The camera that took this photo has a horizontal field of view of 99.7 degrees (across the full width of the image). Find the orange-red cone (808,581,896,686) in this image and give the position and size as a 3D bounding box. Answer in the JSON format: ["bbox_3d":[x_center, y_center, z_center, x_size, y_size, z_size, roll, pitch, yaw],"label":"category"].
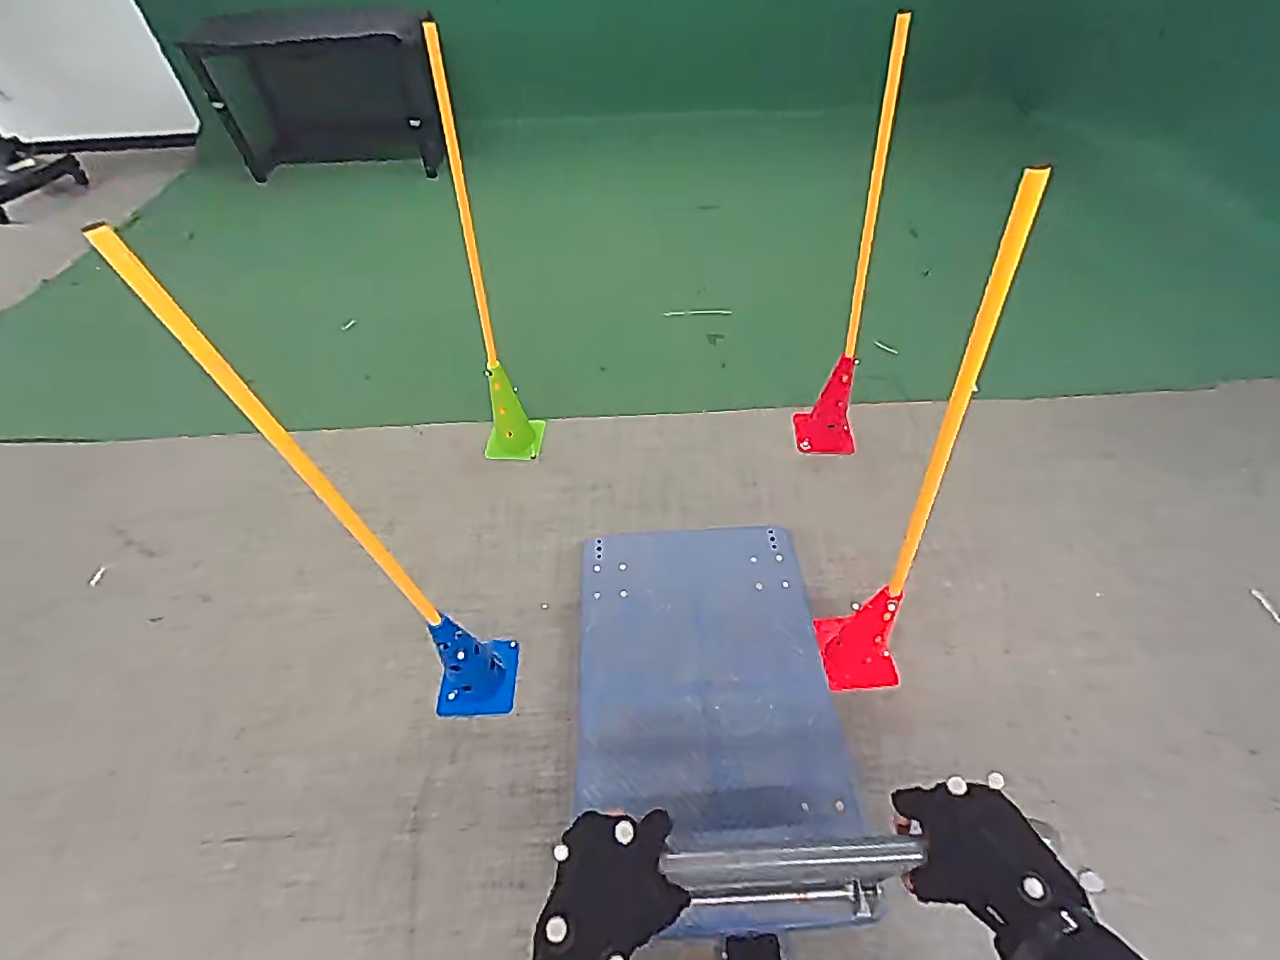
[{"bbox_3d":[0.565,0.354,1.347,0.199,0.360,0.198,-4,50,1],"label":"orange-red cone"}]

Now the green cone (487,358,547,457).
[{"bbox_3d":[-0.464,-0.271,1.888,0.202,0.368,0.200,1,51,4],"label":"green cone"}]
